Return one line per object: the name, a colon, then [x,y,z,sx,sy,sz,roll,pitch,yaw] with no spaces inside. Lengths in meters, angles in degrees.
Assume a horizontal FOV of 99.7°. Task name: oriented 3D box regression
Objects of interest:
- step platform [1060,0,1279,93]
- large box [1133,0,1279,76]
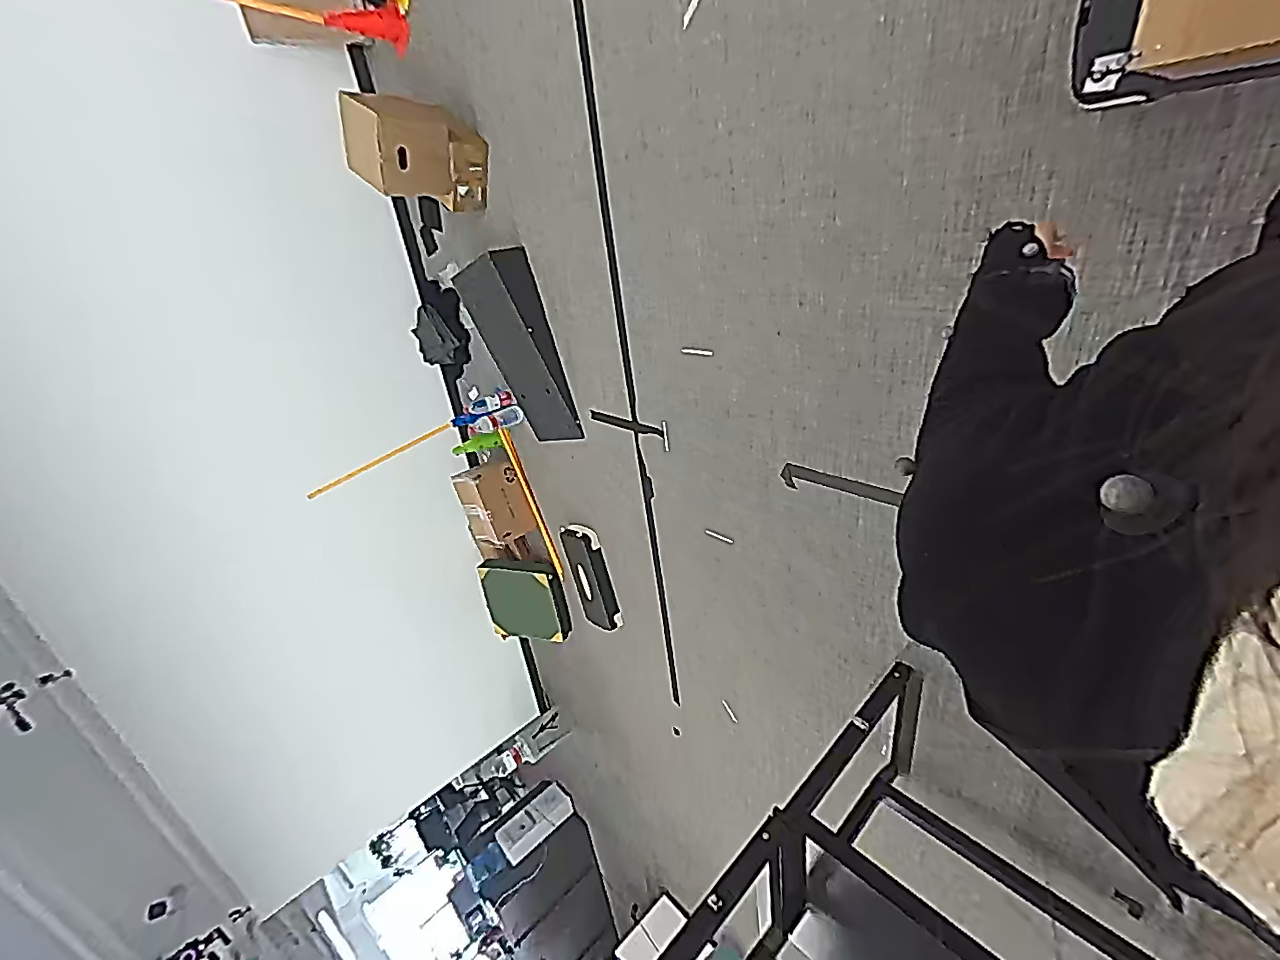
step platform: [0.988,-0.715,0.706,0.684,0.204,0.286,28,132,41]
large box: [0.830,-0.642,0.540,0.408,0.320,0.320,23,128,45]
